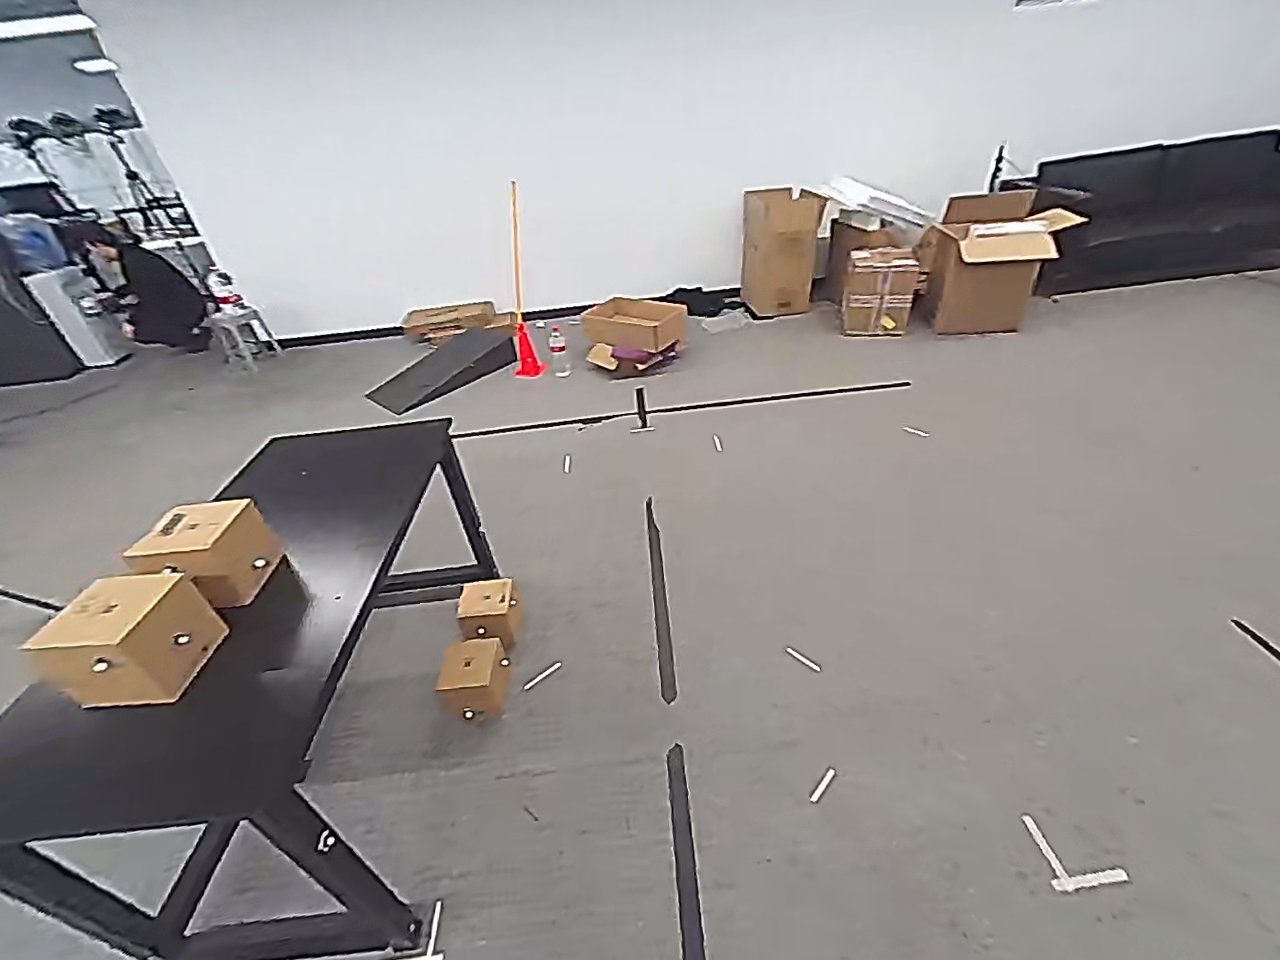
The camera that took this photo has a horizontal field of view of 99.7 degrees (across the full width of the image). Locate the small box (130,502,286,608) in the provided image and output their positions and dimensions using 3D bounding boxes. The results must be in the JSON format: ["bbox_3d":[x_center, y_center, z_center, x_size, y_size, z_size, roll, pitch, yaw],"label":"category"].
[{"bbox_3d":[-0.934,0.170,1.190,0.179,0.176,0.168,-6,35,0],"label":"small box"}]

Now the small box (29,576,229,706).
[{"bbox_3d":[-0.927,0.300,1.007,0.179,0.176,0.168,-5,35,3],"label":"small box"}]

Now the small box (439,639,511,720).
[{"bbox_3d":[-0.518,0.637,1.728,0.168,0.176,0.179,-7,36,1],"label":"small box"}]

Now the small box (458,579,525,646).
[{"bbox_3d":[-0.527,0.483,1.941,0.179,0.176,0.168,-7,36,0],"label":"small box"}]
